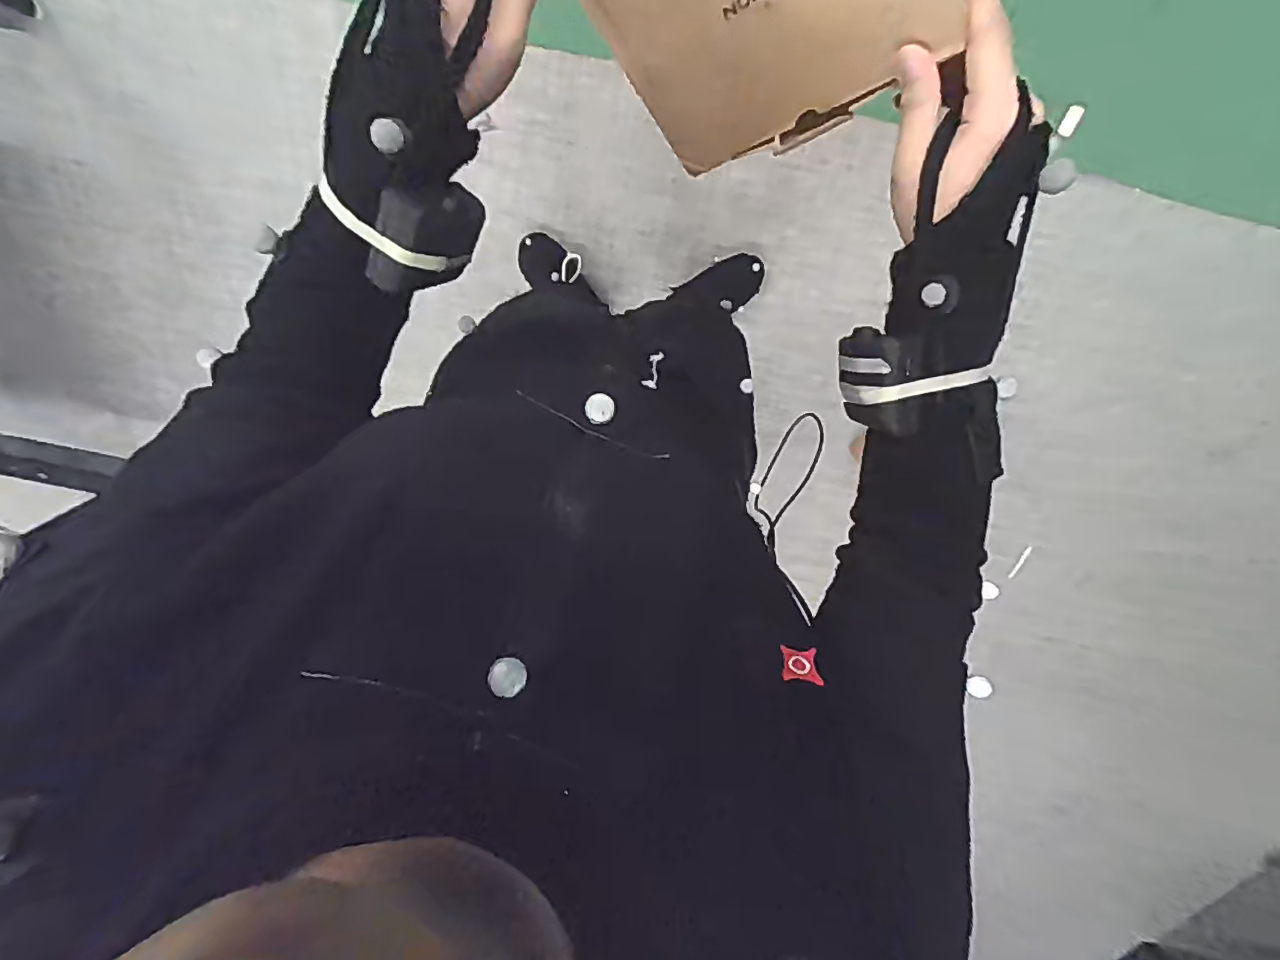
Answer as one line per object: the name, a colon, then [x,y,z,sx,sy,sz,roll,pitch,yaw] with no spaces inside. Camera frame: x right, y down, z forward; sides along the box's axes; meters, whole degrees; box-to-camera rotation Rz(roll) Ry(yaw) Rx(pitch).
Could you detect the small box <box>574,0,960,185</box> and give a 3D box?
small box: [0.070,-0.314,0.291,0.168,0.176,0.179,-5,149,39]
